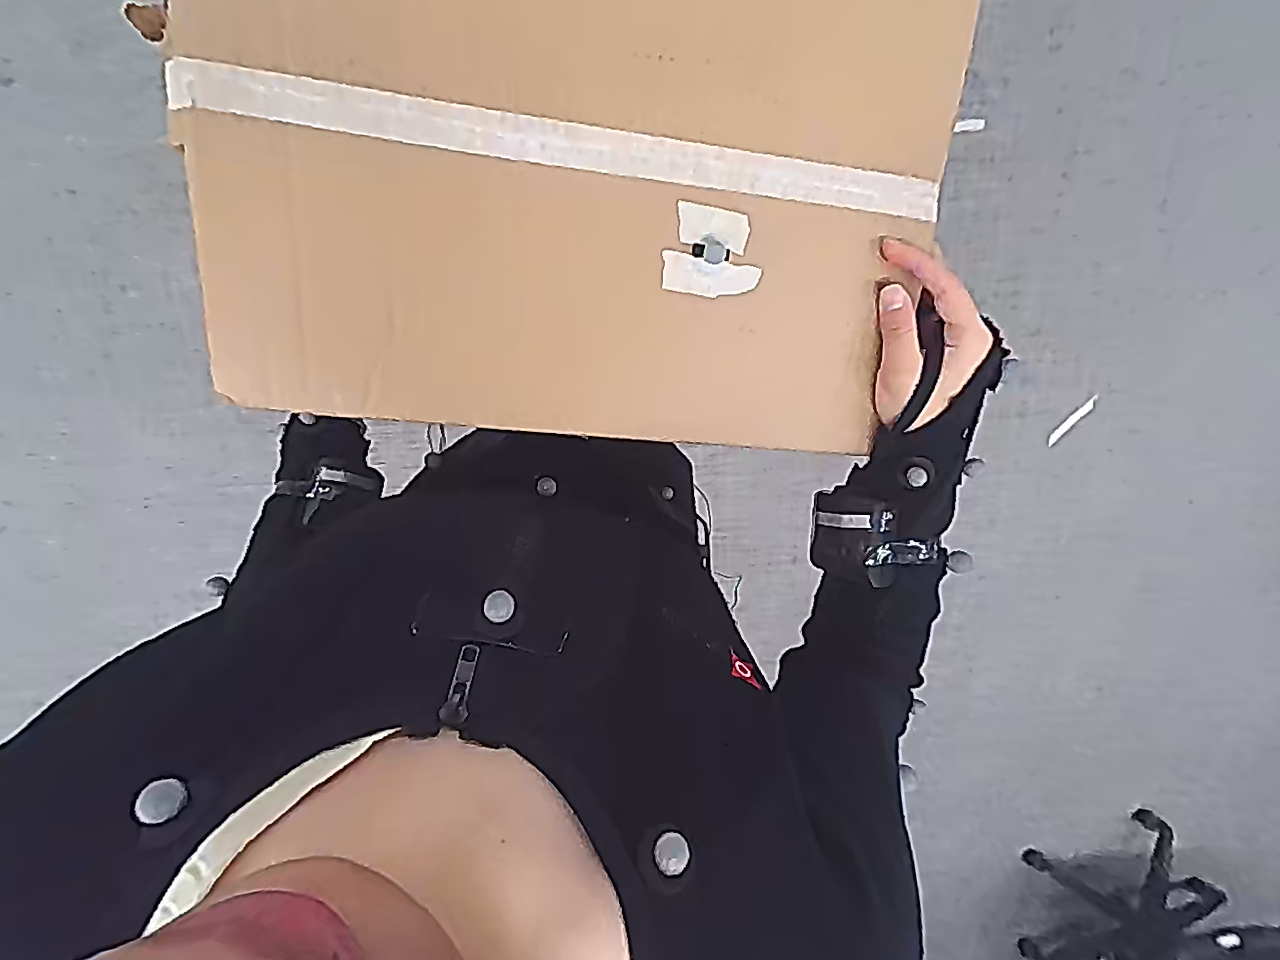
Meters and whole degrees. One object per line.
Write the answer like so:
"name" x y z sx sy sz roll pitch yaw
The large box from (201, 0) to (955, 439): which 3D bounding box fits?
"large box" -0.047 -0.220 0.447 0.408 0.320 0.320 3 106 -10
